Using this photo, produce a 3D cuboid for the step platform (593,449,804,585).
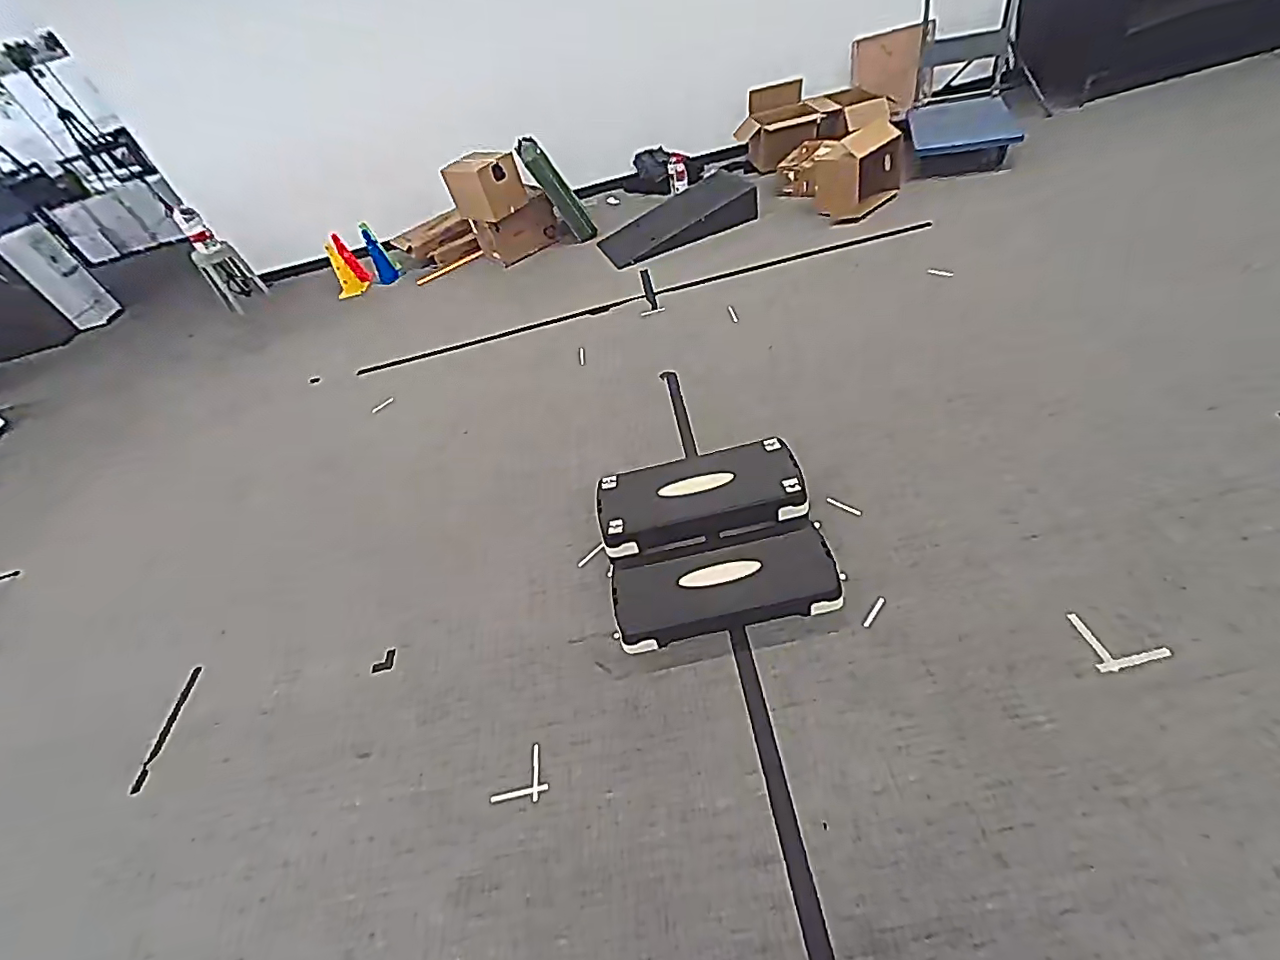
[{"bbox_3d":[0.185,0.116,1.800,0.684,0.204,0.286,-14,45,2],"label":"step platform"}]
